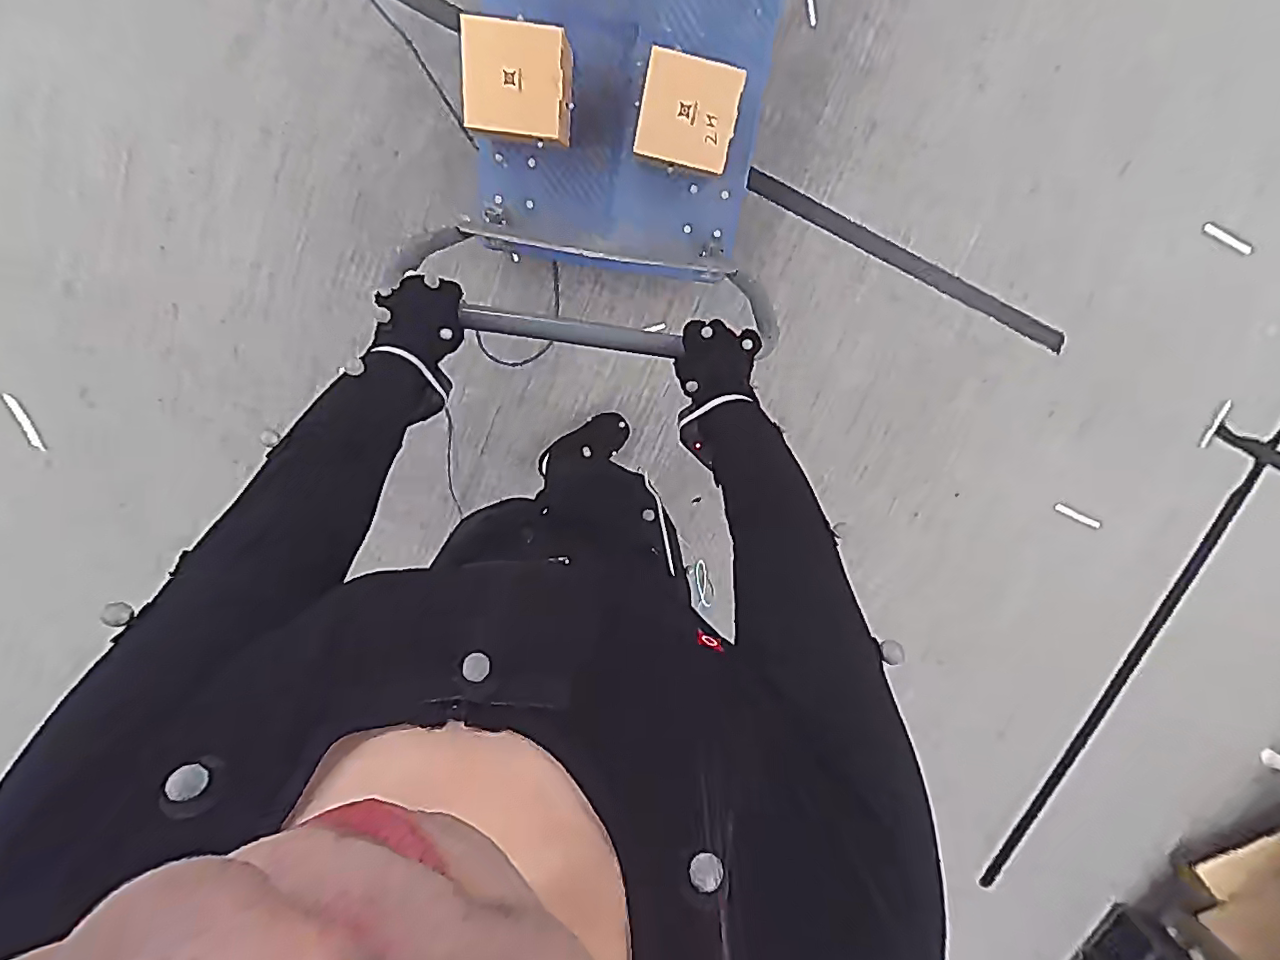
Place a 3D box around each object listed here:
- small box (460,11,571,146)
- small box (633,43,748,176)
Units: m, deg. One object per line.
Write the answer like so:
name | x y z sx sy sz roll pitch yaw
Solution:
small box | -0.227 -0.741 1.018 0.179 0.176 0.168 4 116 -5
small box | 0.087 -0.700 1.044 0.179 0.176 0.168 11 116 -6
